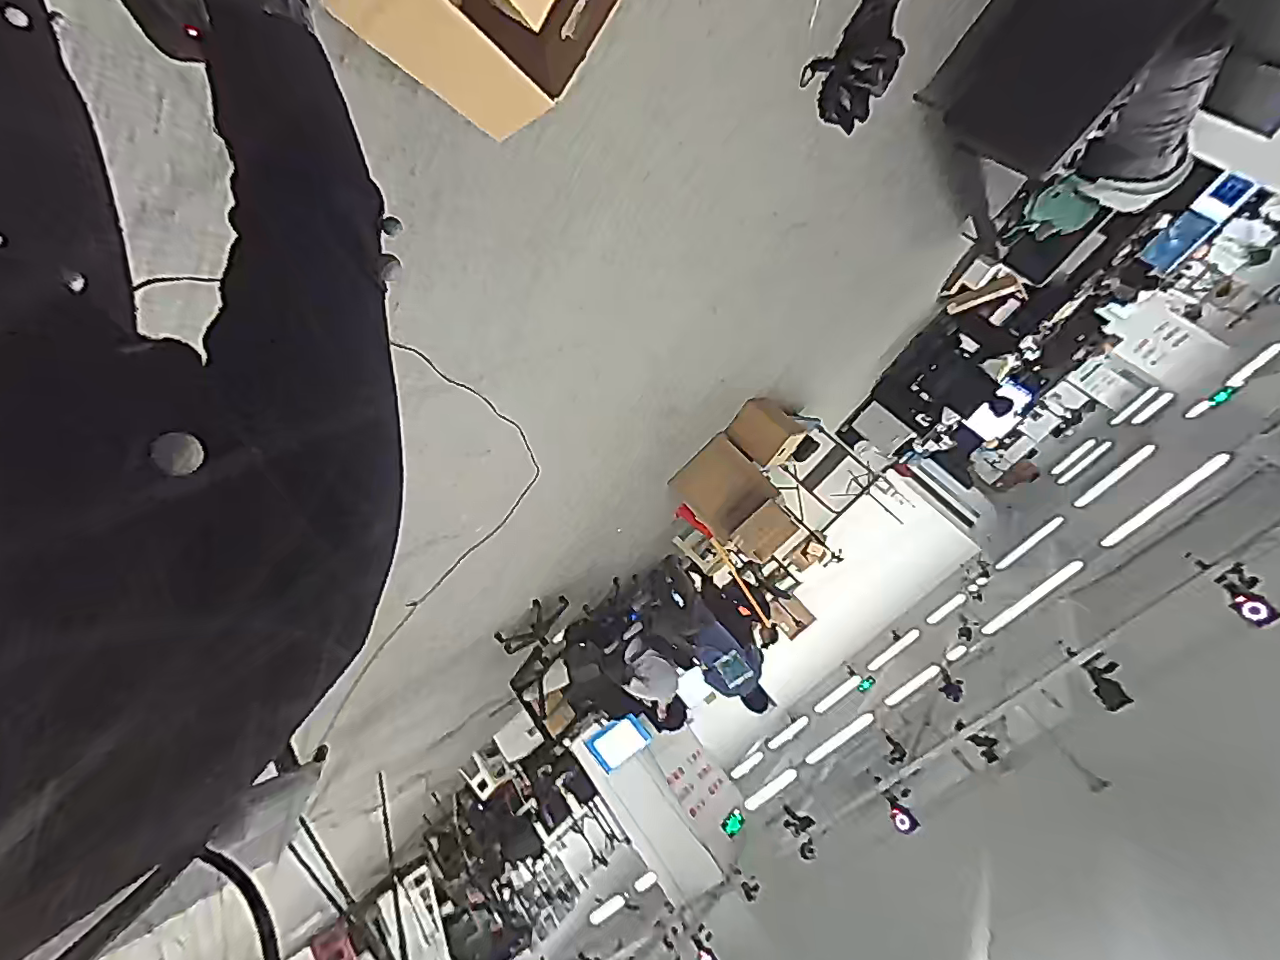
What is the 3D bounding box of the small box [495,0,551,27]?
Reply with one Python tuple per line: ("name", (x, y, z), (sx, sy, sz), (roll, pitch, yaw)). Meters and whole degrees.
("small box", (-0.229, -0.906, 0.876), (0.168, 0.176, 0.179), (-53, 155, 20))
